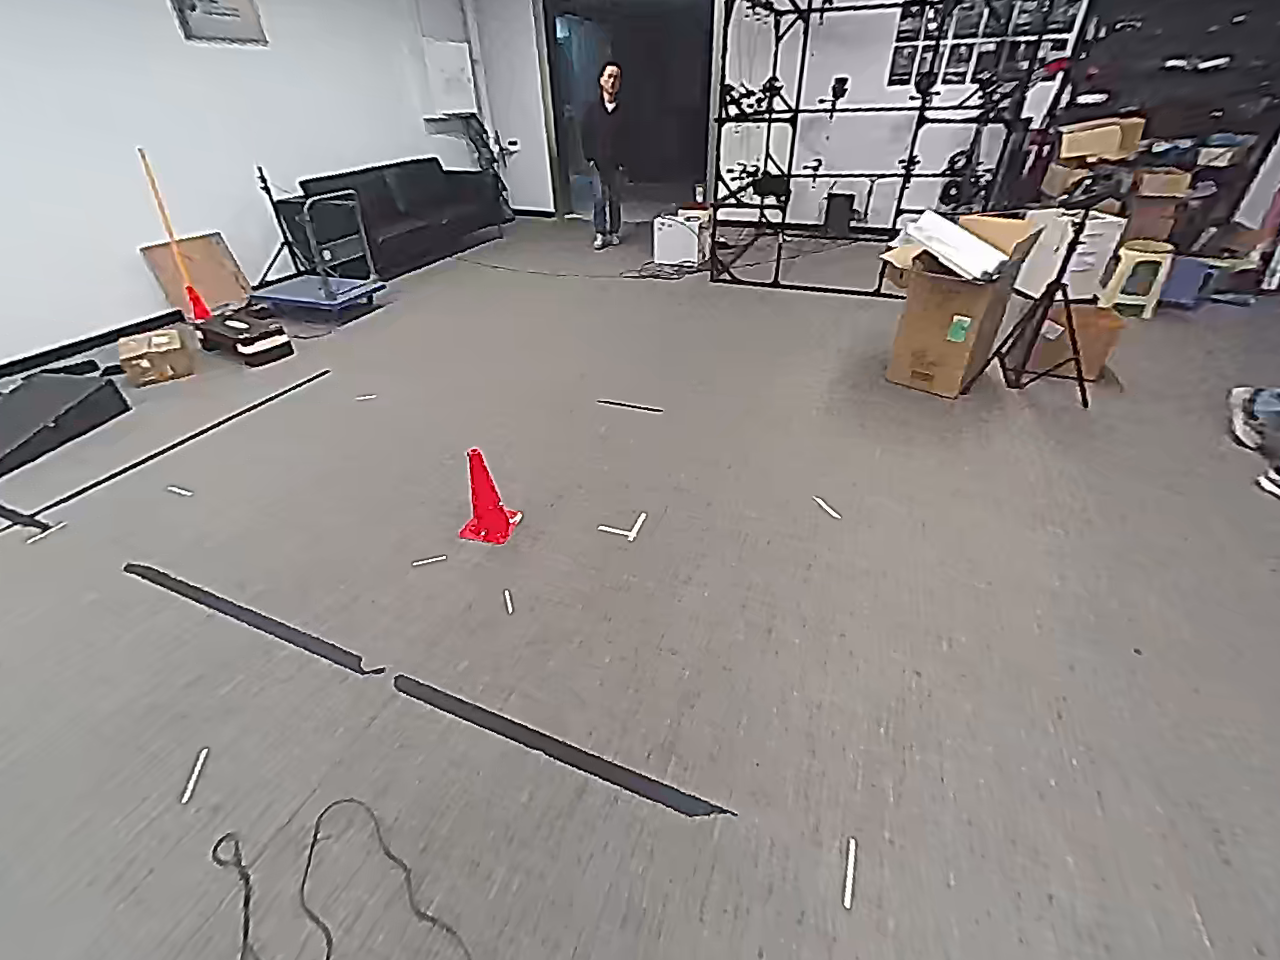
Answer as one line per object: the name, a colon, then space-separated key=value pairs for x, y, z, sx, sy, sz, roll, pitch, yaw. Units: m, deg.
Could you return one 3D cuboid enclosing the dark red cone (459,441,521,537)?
dark red cone: x=-0.599 y=0.023 z=2.066 sx=0.202 sy=0.394 sz=0.201 roll=8 pitch=37 yaw=13
